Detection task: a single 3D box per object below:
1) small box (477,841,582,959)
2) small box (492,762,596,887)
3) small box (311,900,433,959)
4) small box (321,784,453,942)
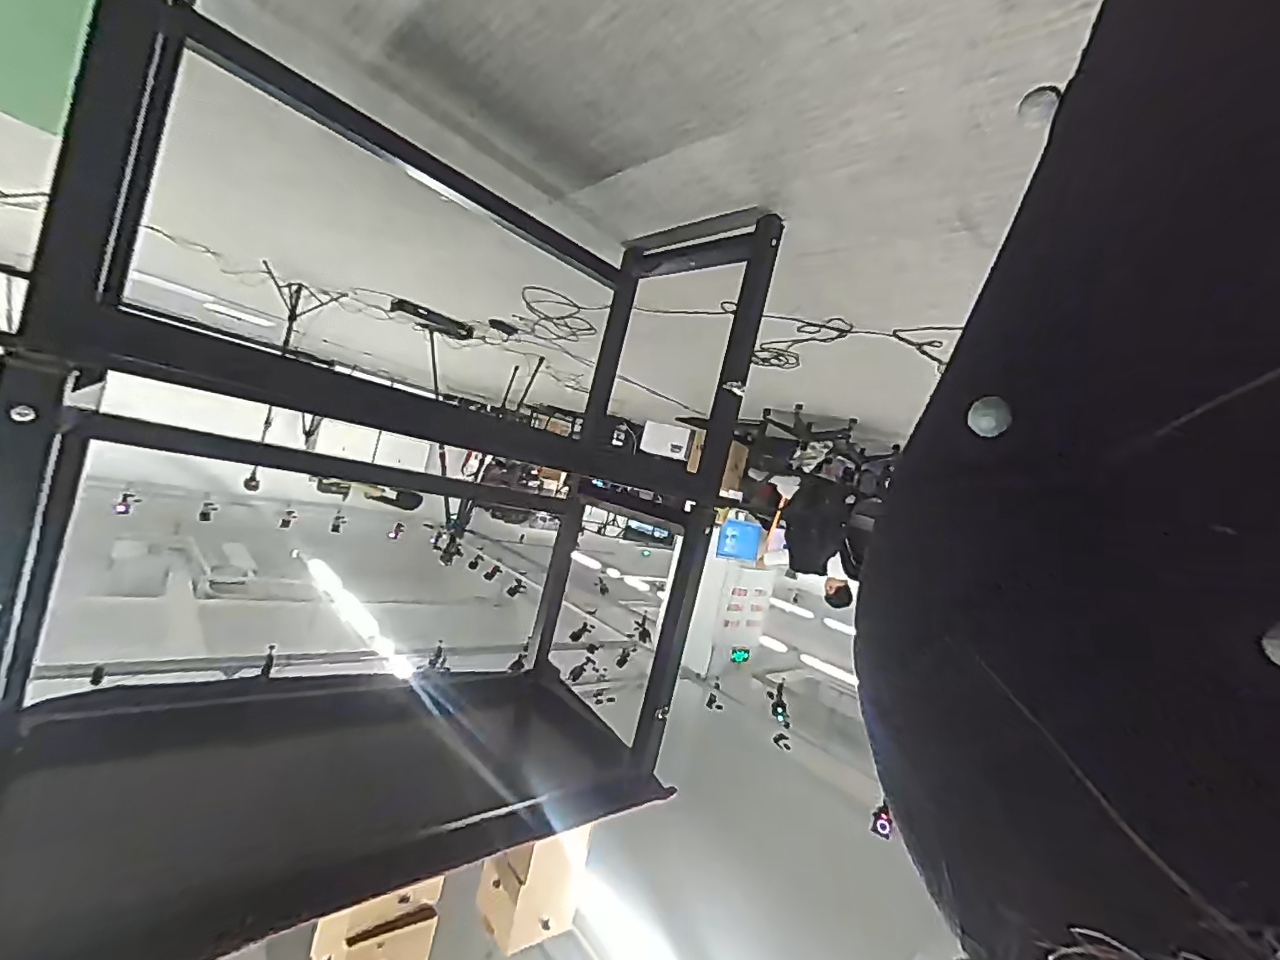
[{"bbox_3d":[-0.260,0.960,1.283,0.179,0.176,0.168,13,180,-39],"label":"small box"},{"bbox_3d":[-0.225,0.799,1.278,0.168,0.176,0.179,13,179,-40],"label":"small box"},{"bbox_3d":[-0.524,0.896,1.062,0.168,0.176,0.179,14,180,-39],"label":"small box"},{"bbox_3d":[-0.495,0.734,1.065,0.179,0.176,0.168,15,180,-44],"label":"small box"}]
